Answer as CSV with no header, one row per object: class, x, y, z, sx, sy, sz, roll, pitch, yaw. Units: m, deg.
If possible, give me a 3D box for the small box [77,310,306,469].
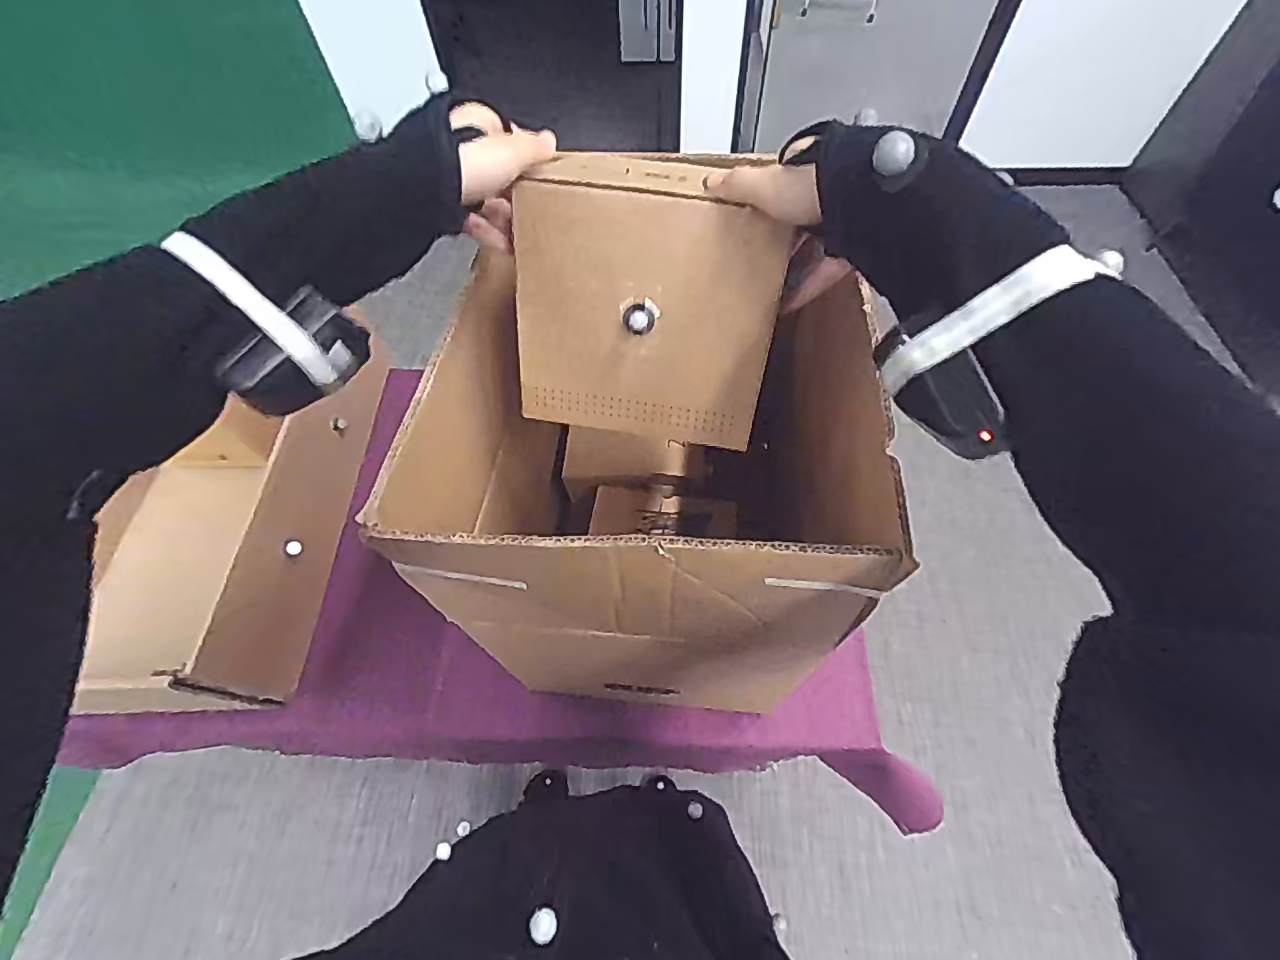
small box,-0.640,-0.128,0.804,0.168,0.176,0.179,0,58,4
